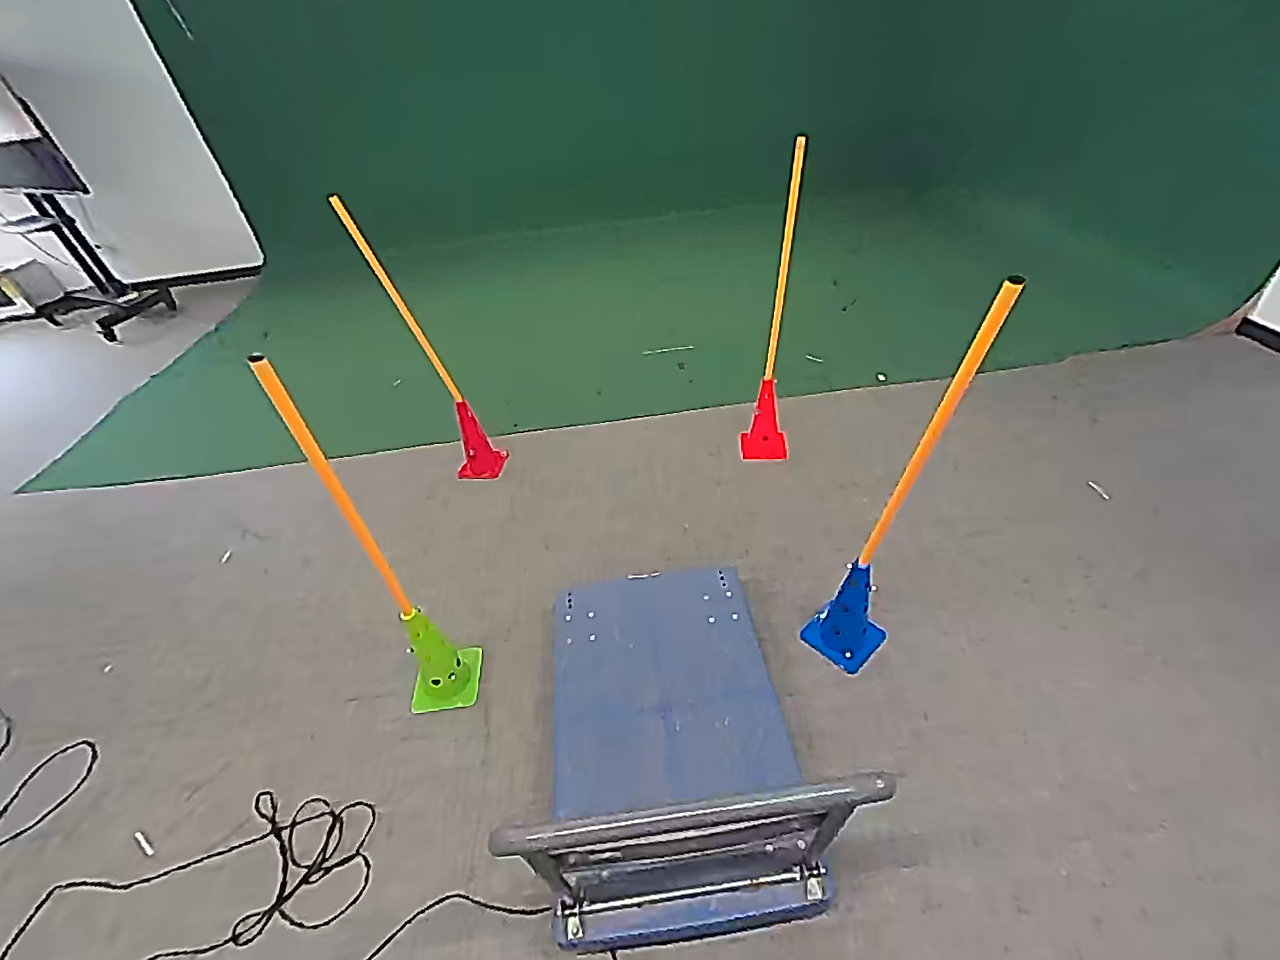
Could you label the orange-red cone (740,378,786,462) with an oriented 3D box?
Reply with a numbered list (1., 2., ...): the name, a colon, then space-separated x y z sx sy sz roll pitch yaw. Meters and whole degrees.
1. orange-red cone: 0.534 -0.273 2.325 0.198 0.360 0.199 -1 42 8
